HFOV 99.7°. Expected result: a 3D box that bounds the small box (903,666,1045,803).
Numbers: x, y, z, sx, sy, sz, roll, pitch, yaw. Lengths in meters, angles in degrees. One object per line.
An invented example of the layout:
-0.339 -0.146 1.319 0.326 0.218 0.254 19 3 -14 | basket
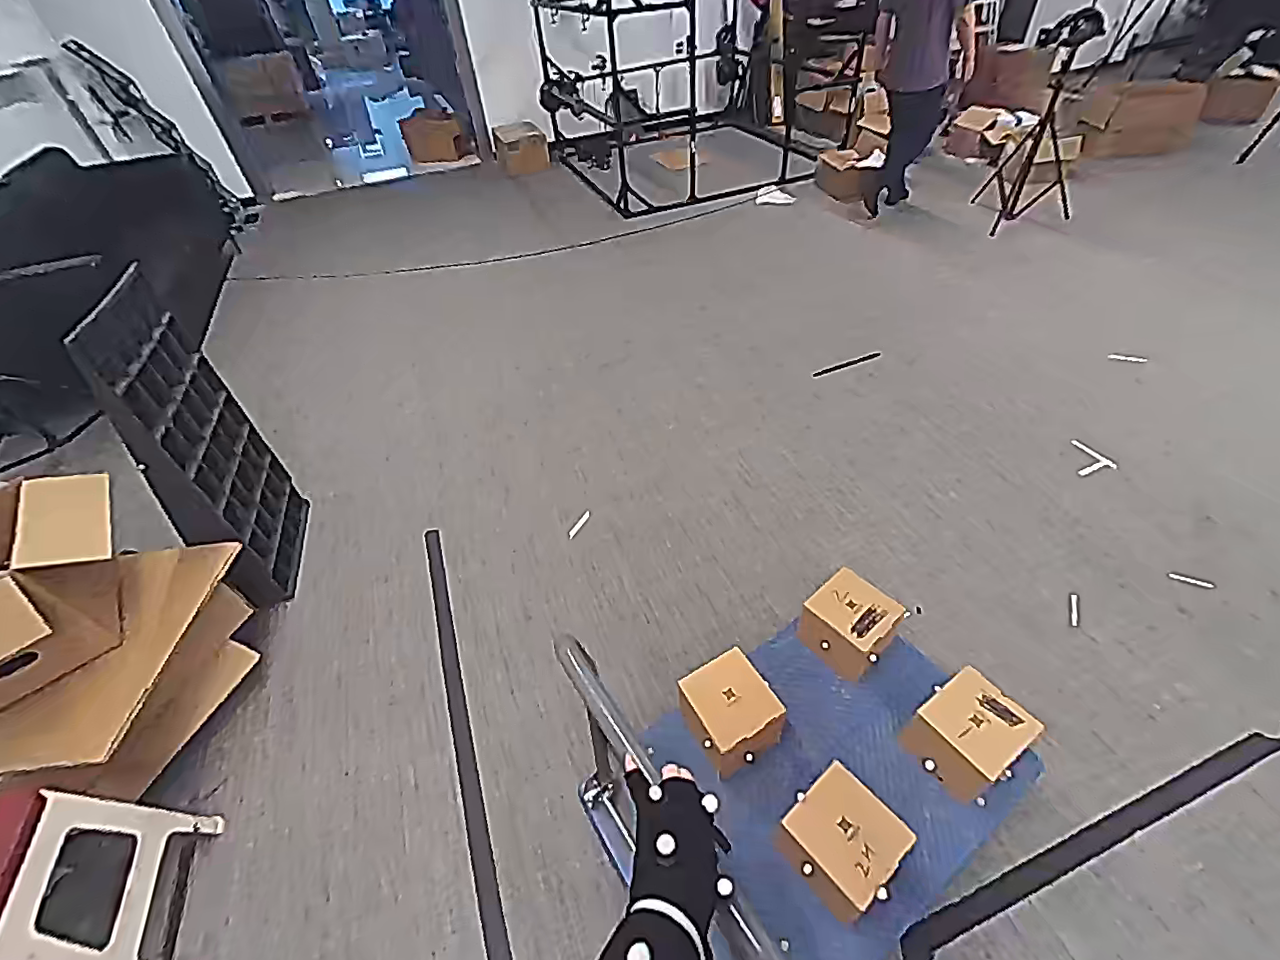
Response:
0.690 0.536 1.139 0.179 0.176 0.168 -28 48 -20 | small box

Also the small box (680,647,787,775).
0.202 0.519 1.214 0.168 0.176 0.179 -25 49 -18 | small box

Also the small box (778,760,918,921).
0.381 0.684 1.024 0.168 0.176 0.179 -32 50 -24 | small box
